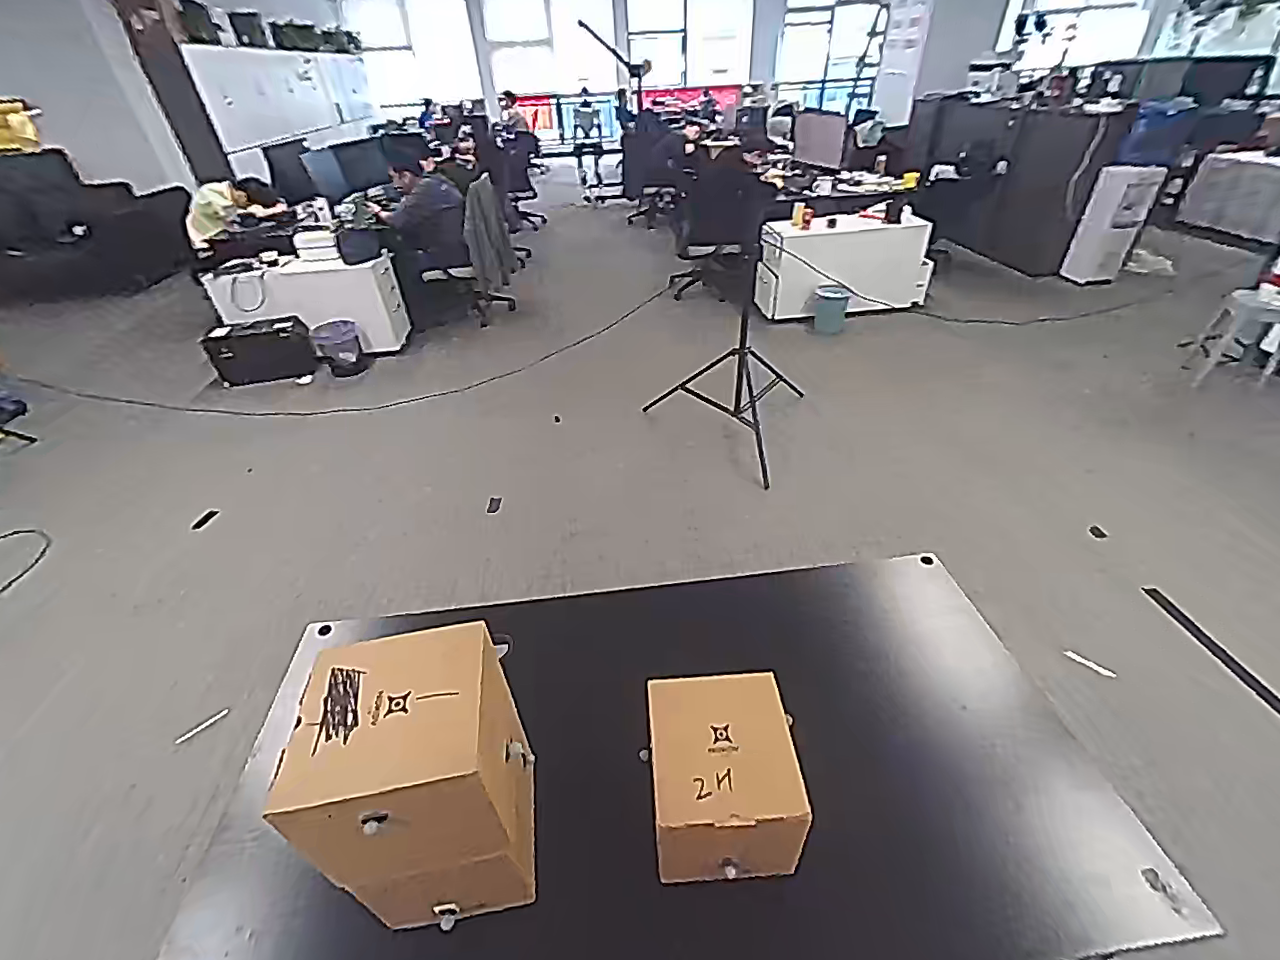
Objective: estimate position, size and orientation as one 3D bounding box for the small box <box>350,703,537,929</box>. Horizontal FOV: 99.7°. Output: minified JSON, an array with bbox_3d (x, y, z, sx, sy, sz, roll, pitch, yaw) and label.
[{"bbox_3d":[-0.223,0.408,0.665,0.168,0.176,0.179,-9,39,-6],"label":"small box"}]

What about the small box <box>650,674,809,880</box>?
[{"bbox_3d":[0.098,0.372,0.685,0.168,0.176,0.179,-4,37,0],"label":"small box"}]

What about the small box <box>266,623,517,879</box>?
[{"bbox_3d":[-0.233,0.279,0.562,0.179,0.176,0.168,-8,38,-7],"label":"small box"}]
